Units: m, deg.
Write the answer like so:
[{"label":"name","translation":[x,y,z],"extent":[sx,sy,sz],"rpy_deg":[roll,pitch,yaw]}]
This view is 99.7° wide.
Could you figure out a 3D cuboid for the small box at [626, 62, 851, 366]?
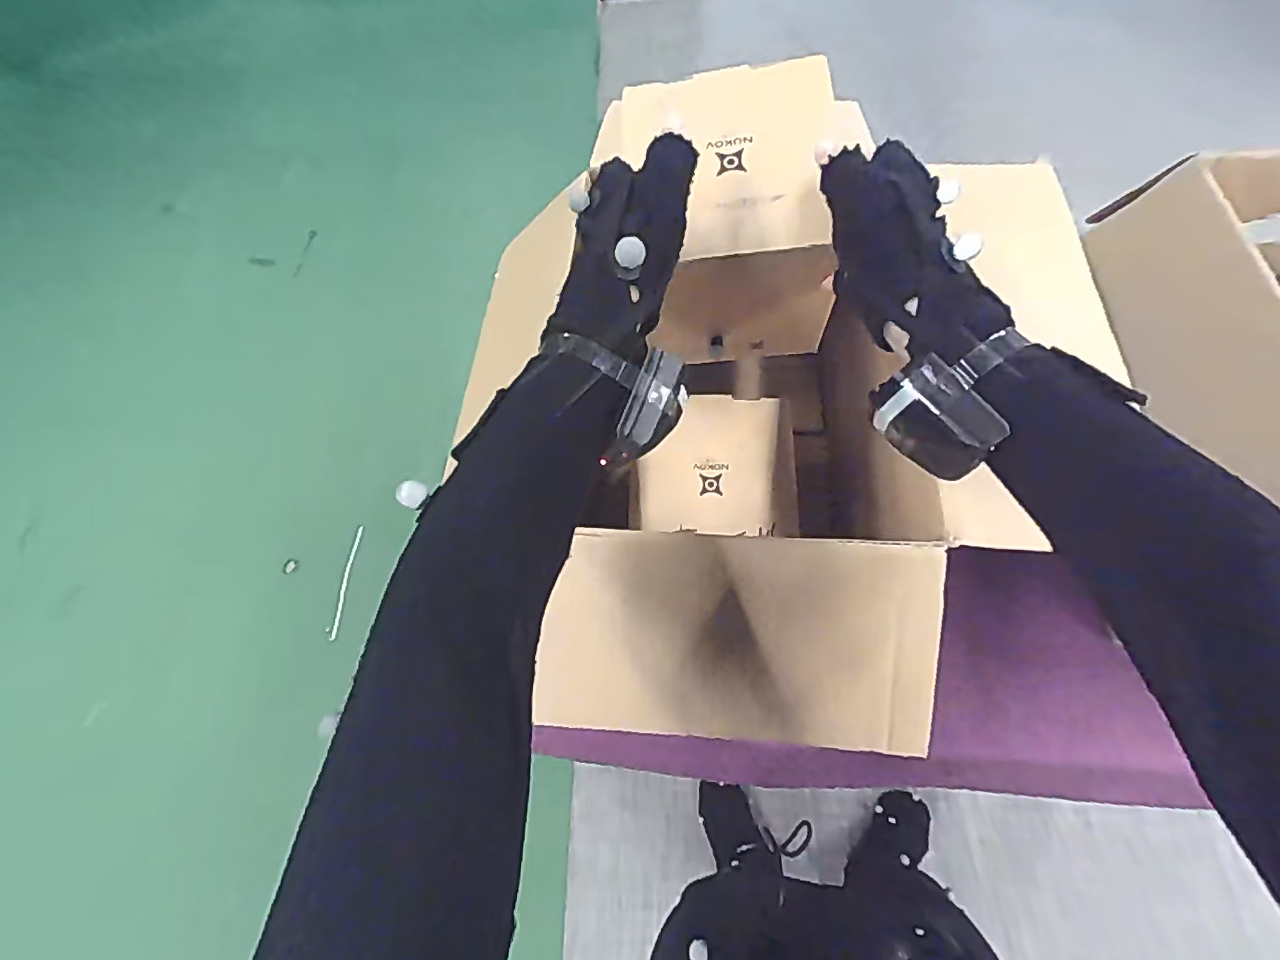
[{"label":"small box","translation":[0.081,-0.226,0.497],"extent":[0.168,0.176,0.179],"rpy_deg":[-4,75,8]}]
